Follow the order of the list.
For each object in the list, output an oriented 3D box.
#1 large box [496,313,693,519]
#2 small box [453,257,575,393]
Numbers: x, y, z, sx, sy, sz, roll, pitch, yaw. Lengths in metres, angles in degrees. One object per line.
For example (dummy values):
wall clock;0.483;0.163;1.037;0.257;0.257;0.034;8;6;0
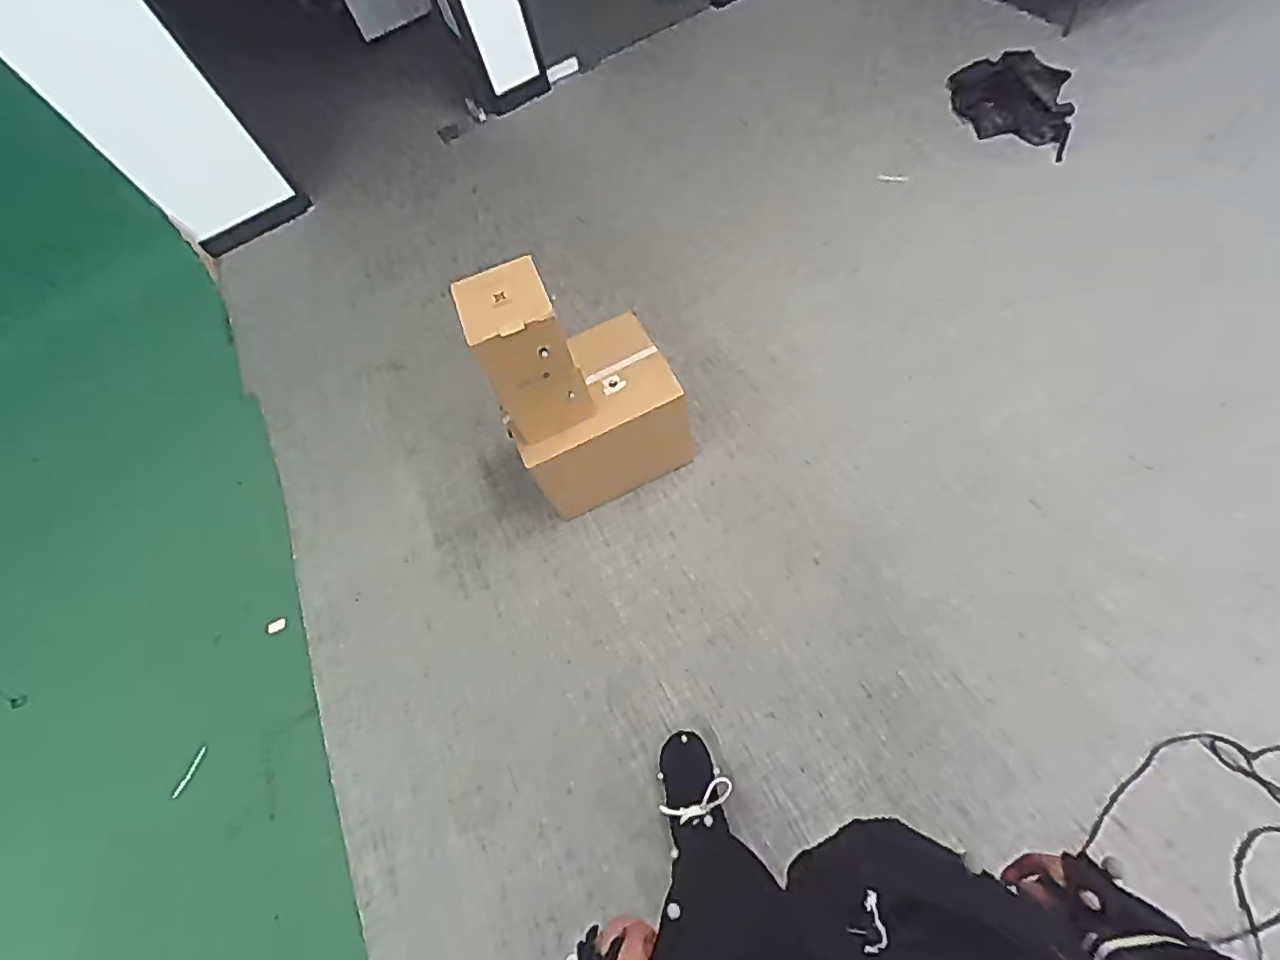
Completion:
large box;-0.110;-0.158;1.431;0.408;0.320;0.320;-25;62;-4
small box;-0.240;-0.293;1.060;0.168;0.176;0.179;-22;60;-4
